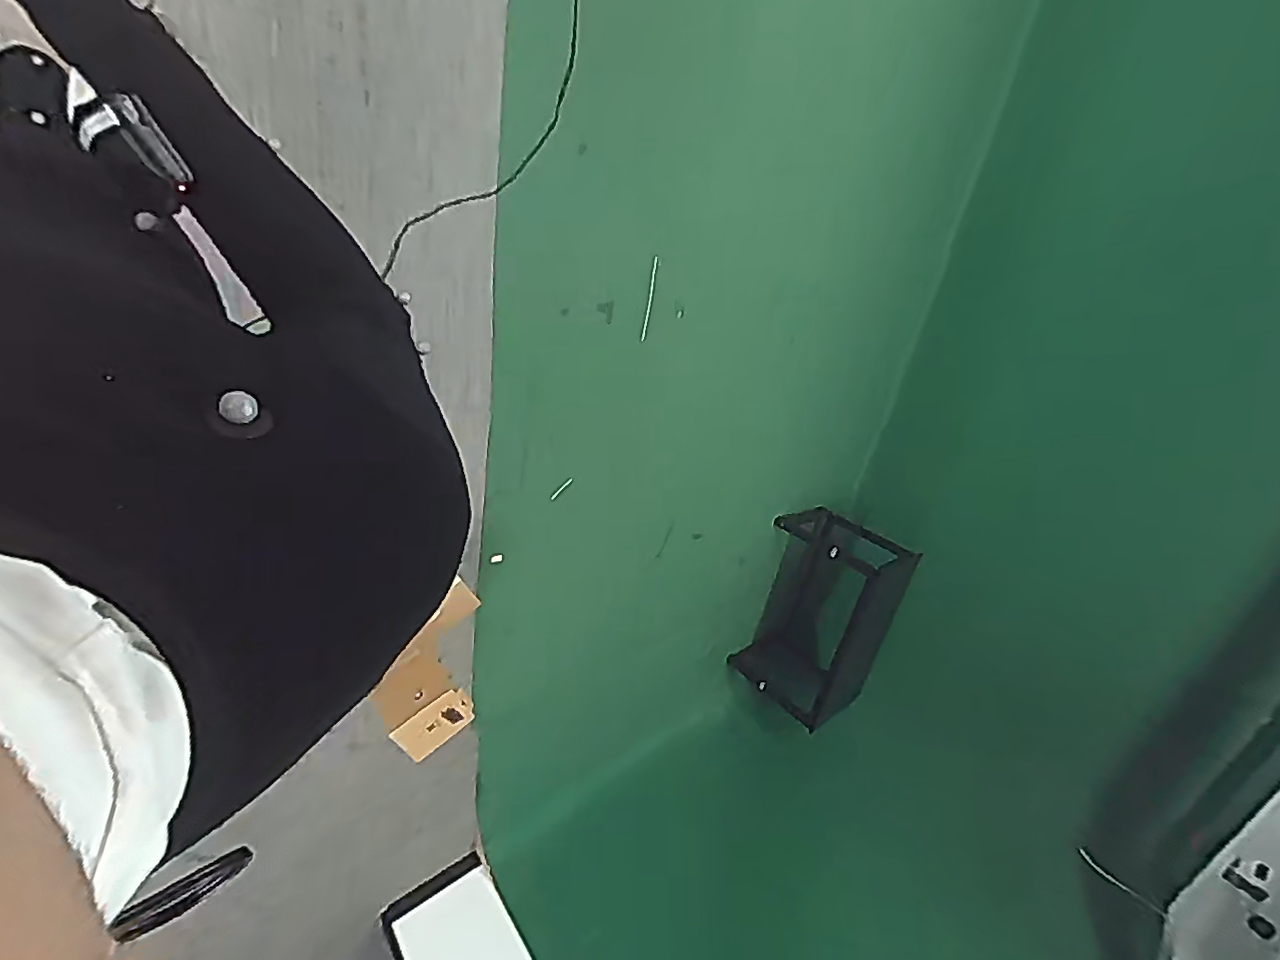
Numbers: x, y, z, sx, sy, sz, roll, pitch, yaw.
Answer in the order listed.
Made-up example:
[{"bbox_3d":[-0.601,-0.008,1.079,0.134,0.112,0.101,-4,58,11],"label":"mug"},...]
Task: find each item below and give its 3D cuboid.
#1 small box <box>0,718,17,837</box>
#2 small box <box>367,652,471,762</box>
[{"bbox_3d":[-1.277,0.564,0.986,0.168,0.176,0.179,-4,116,-43],"label":"small box"},{"bbox_3d":[-0.590,0.596,1.441,0.179,0.176,0.168,-35,135,-24],"label":"small box"}]
